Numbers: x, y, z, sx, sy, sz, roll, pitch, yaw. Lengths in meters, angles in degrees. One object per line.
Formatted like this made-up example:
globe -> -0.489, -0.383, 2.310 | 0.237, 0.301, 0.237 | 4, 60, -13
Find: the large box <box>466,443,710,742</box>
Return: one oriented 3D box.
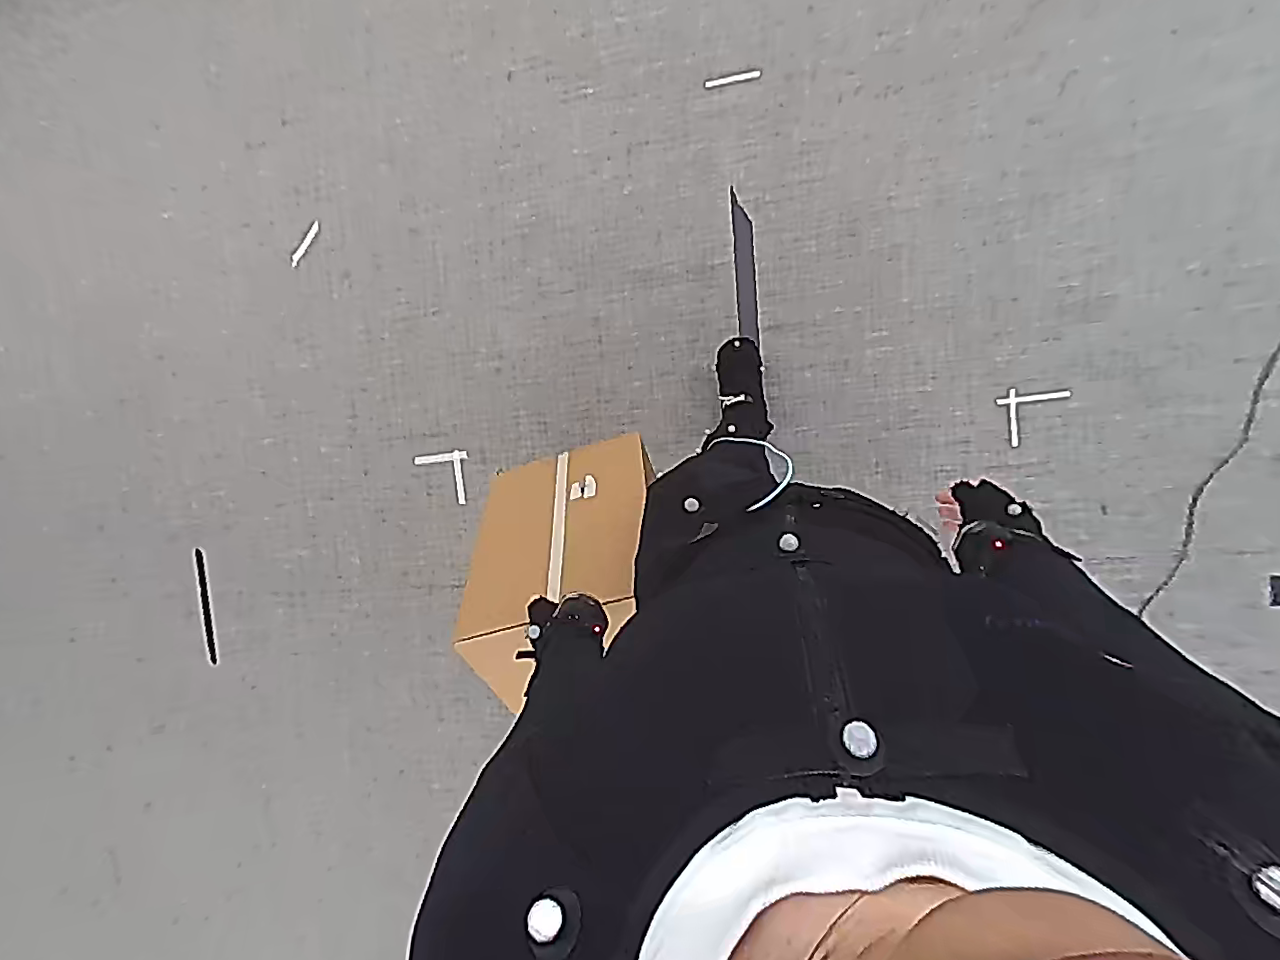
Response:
large box -> -0.080, 0.197, 1.010 | 0.320, 0.408, 0.320 | -15, 125, 7
